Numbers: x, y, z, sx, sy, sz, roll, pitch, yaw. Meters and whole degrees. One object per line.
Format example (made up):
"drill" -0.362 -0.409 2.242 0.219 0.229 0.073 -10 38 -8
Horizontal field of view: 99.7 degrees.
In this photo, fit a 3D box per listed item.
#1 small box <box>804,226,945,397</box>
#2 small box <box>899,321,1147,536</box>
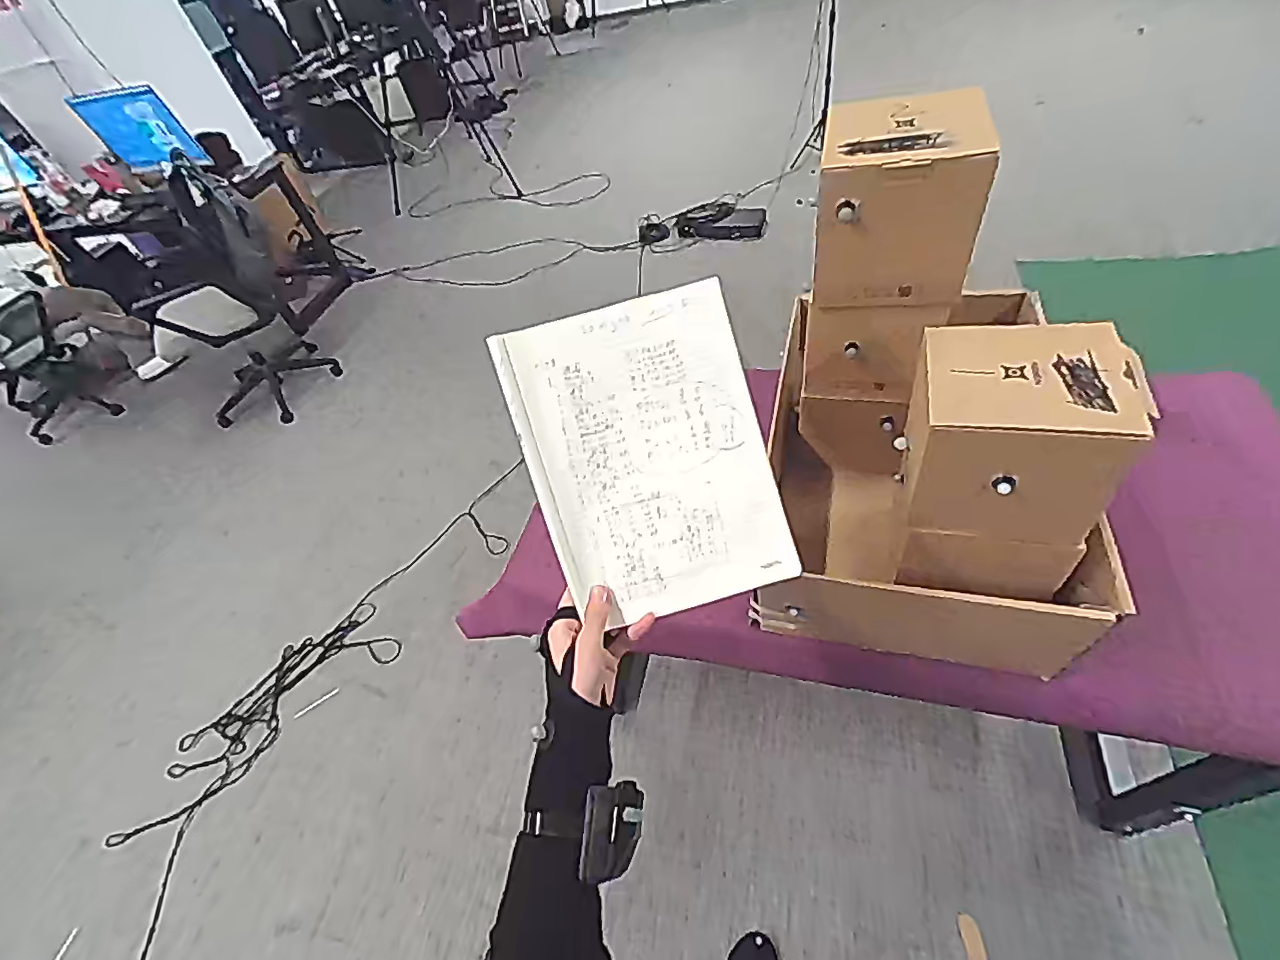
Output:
"small box" 0.330 -0.236 0.777 0.168 0.176 0.179 6 53 19
"small box" 0.395 -0.056 0.596 0.179 0.176 0.168 5 50 21
